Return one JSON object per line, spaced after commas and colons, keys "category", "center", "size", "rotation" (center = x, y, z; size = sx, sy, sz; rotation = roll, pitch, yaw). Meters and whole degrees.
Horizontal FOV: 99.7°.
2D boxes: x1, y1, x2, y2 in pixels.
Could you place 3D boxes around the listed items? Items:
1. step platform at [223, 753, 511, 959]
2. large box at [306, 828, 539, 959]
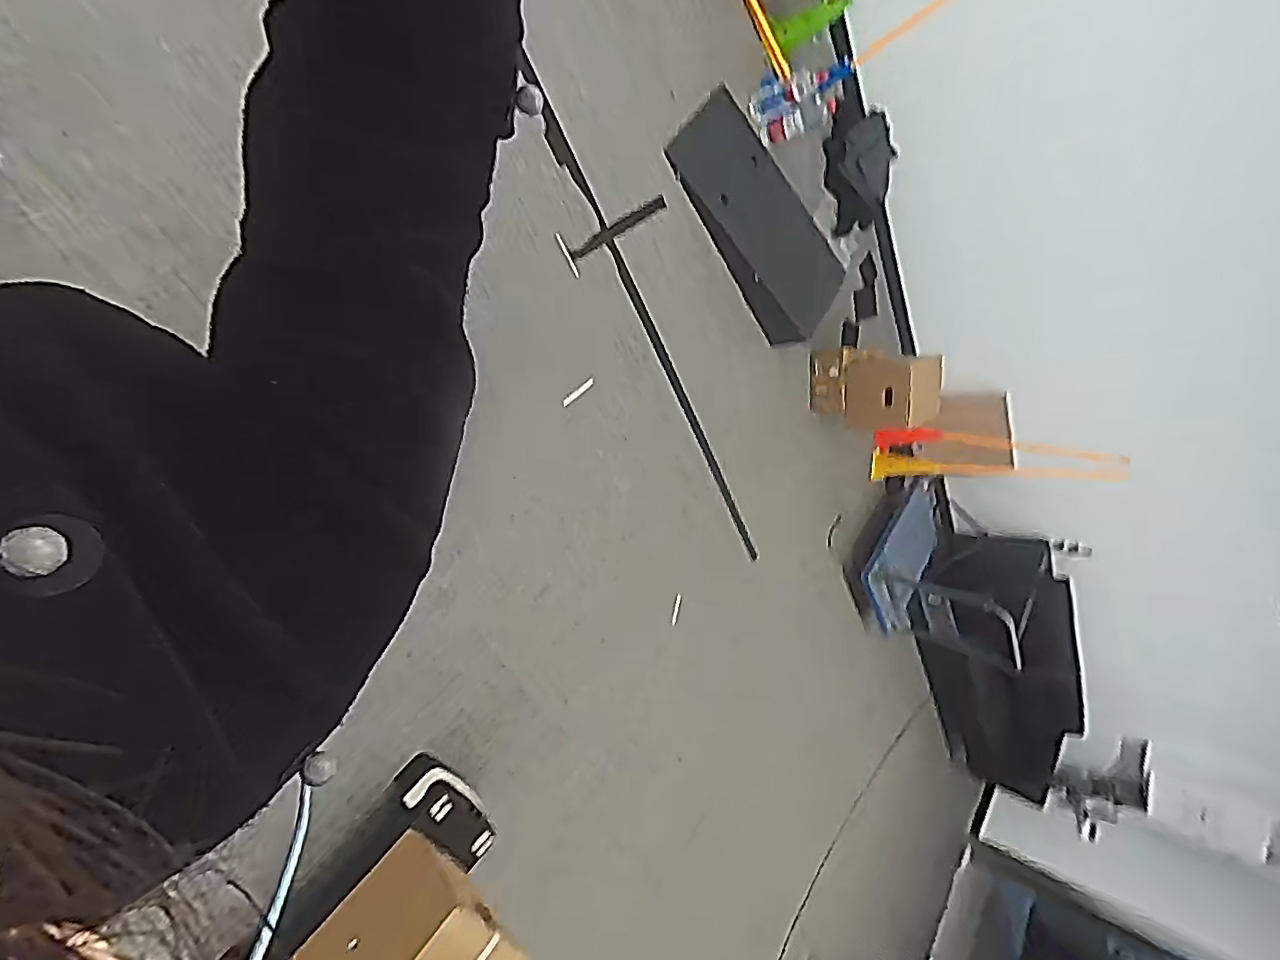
{"category": "step platform", "center": [-0.677, 1.094, 1.420], "size": [0.684, 0.204, 0.286], "rotation": [-40, 119, -33]}
{"category": "large box", "center": [-0.523, 1.134, 1.241], "size": [0.408, 0.320, 0.320], "rotation": [-46, 122, -30]}
